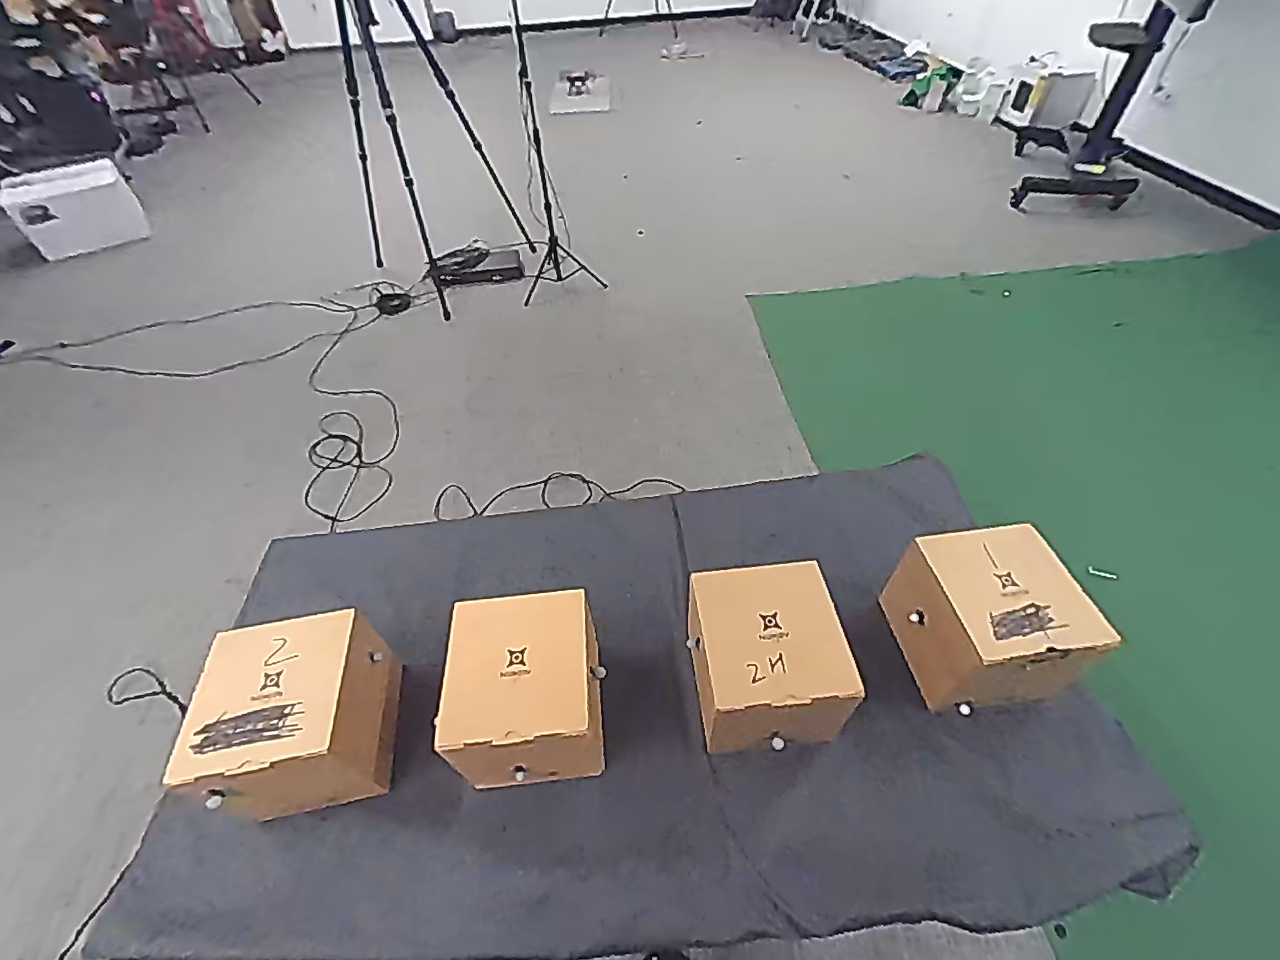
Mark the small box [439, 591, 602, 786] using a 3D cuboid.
[{"bbox_3d":[-0.138,0.265,0.685,0.168,0.176,0.179,-5,49,-3],"label":"small box"}]

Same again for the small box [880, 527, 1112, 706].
[{"bbox_3d":[0.454,0.189,0.727,0.168,0.176,0.179,-6,48,-3],"label":"small box"}]

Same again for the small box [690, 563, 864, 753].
[{"bbox_3d":[0.159,0.231,0.701,0.168,0.176,0.179,-6,49,-2],"label":"small box"}]
